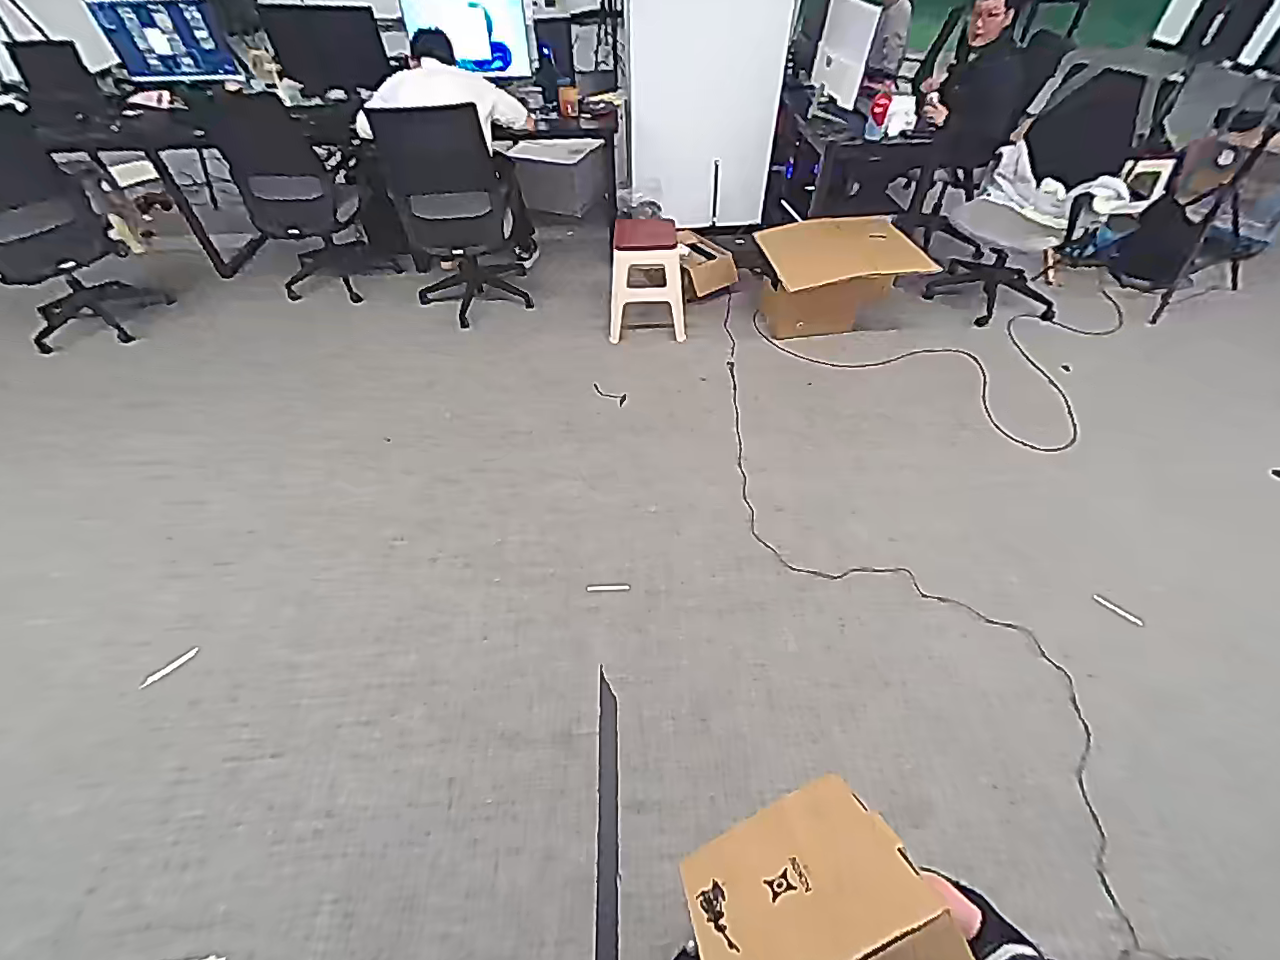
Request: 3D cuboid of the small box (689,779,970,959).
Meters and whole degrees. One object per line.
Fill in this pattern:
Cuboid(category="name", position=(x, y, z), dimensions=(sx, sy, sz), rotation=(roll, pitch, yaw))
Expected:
Cuboid(category="small box", position=(0.166, 0.406, 0.453), dimensions=(0.179, 0.168, 0.176), rotation=(-27, 93, -5))
